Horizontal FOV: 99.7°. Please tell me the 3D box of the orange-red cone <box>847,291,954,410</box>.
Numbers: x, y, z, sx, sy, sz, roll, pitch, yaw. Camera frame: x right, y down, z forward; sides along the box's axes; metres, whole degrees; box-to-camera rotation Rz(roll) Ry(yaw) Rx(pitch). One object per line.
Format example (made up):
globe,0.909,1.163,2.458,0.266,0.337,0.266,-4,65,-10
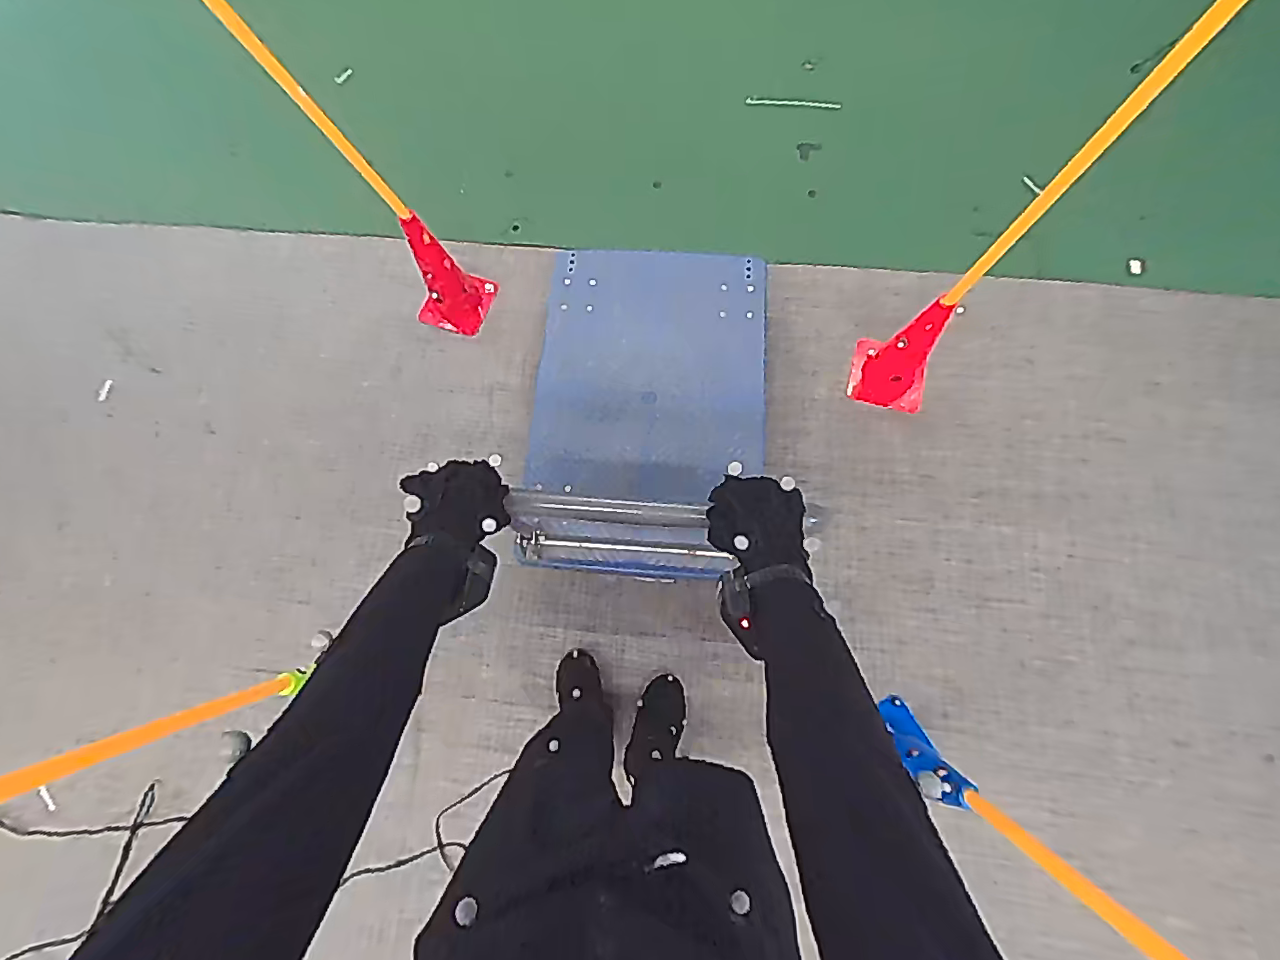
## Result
orange-red cone,0.685,-0.349,1.356,0.198,0.360,0.199,16,76,8
